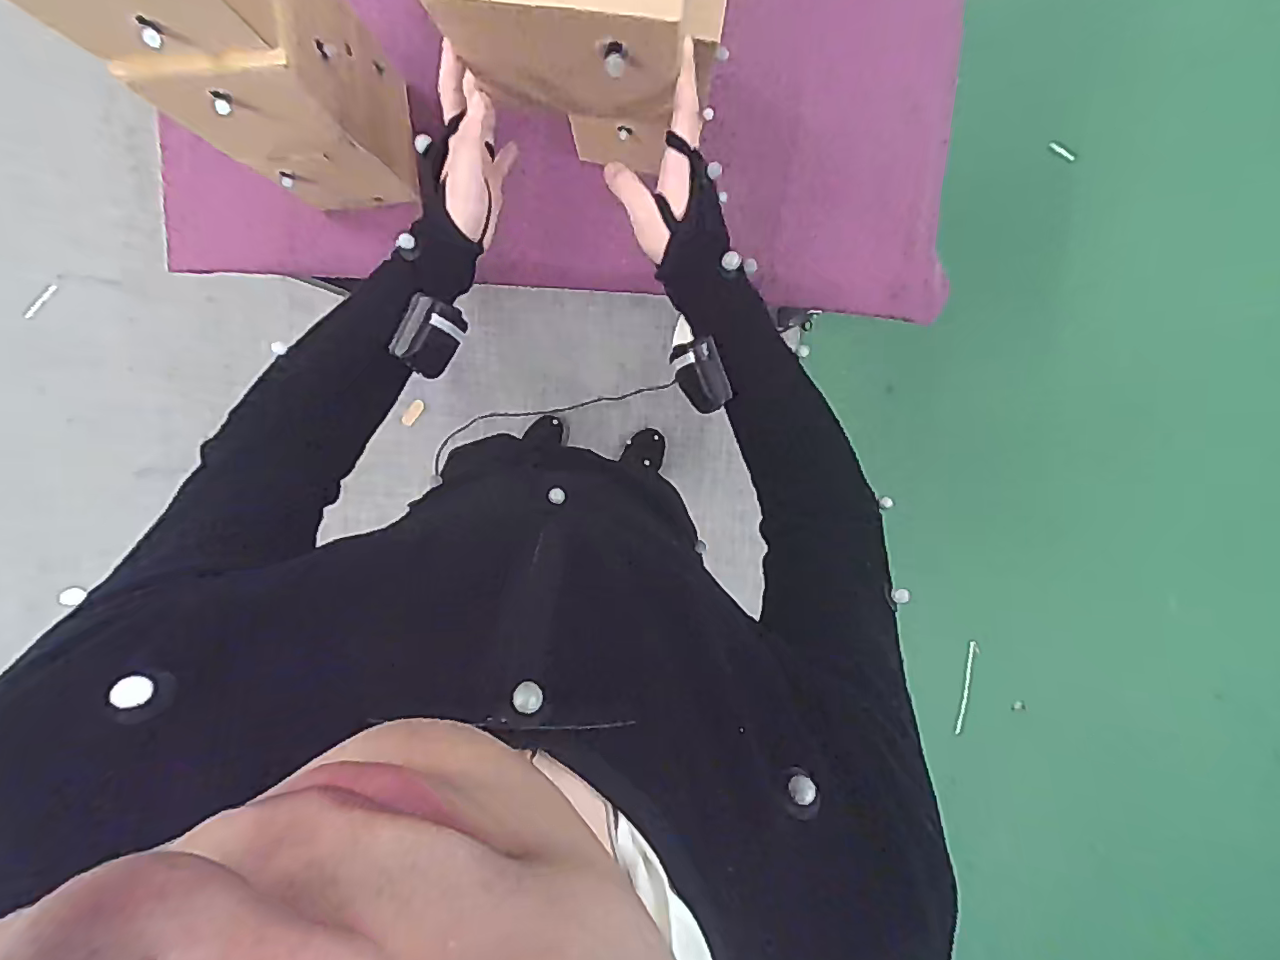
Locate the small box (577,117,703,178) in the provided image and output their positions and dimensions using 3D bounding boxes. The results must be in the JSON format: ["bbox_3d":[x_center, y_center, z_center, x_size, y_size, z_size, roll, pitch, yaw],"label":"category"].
[{"bbox_3d":[0.007,-0.548,0.750,0.179,0.176,0.168,10,98,-2],"label":"small box"}]

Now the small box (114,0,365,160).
[{"bbox_3d":[-0.427,-0.478,0.594,0.179,0.176,0.168,-4,97,1],"label":"small box"}]

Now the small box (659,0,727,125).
[{"bbox_3d":[0.005,-0.522,0.589,0.179,0.176,0.168,9,99,-1],"label":"small box"}]

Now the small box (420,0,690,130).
[{"bbox_3d":[-0.047,-0.394,0.413,0.179,0.176,0.168,7,103,1],"label":"small box"}]

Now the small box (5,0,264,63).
[{"bbox_3d":[-0.436,-0.473,0.430,0.179,0.176,0.168,-3,97,0],"label":"small box"}]
